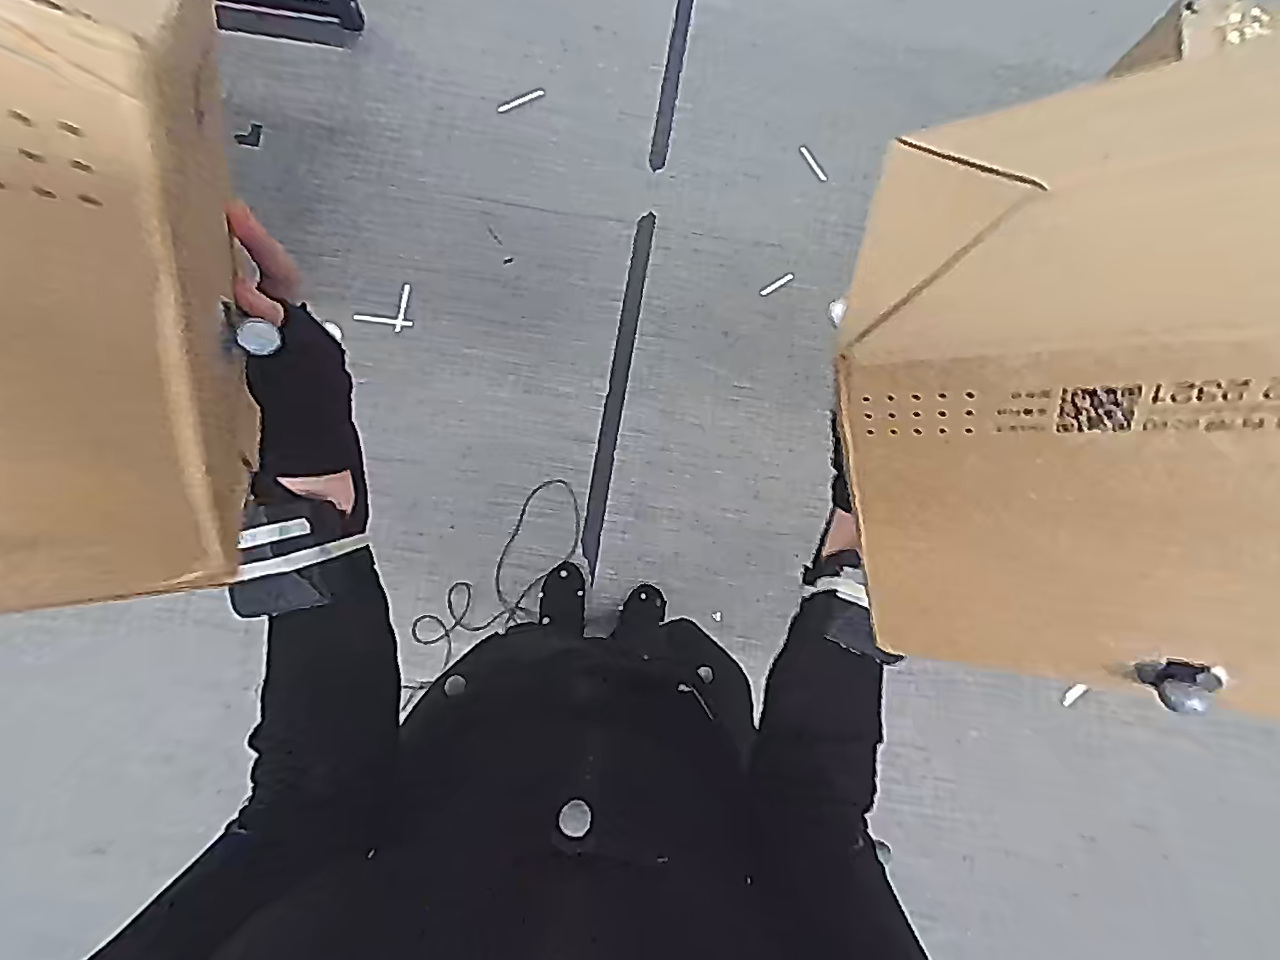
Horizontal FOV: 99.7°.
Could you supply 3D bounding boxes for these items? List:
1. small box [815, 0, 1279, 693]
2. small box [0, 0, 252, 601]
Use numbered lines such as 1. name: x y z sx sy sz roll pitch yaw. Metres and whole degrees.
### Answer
1. small box: 0.174 -0.045 0.207 0.168 0.176 0.179 0 48 31
2. small box: -0.225 -0.078 0.148 0.179 0.176 0.168 -1 43 -31
